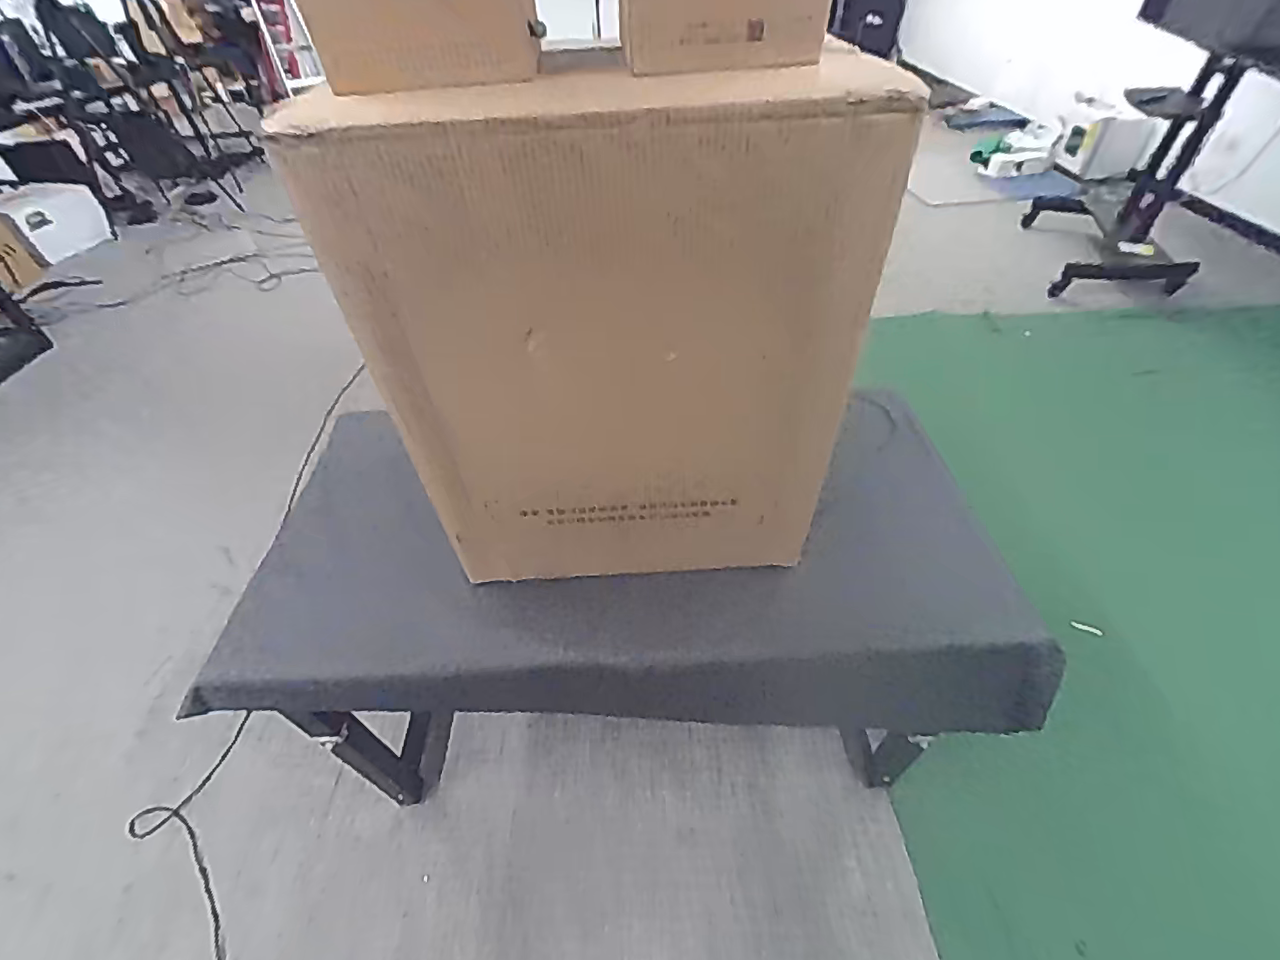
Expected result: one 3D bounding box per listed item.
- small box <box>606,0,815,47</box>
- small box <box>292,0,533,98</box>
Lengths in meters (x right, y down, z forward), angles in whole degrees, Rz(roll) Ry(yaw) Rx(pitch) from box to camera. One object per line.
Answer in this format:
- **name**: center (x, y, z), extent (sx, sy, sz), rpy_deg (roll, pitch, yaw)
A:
- **small box**: center (0.054, -0.482, 0.451), extent (0.168, 0.176, 0.179), rpy_deg (-8, 50, -5)
- **small box**: center (-0.193, -0.451, 0.460), extent (0.179, 0.176, 0.168), rpy_deg (-7, 48, 0)
